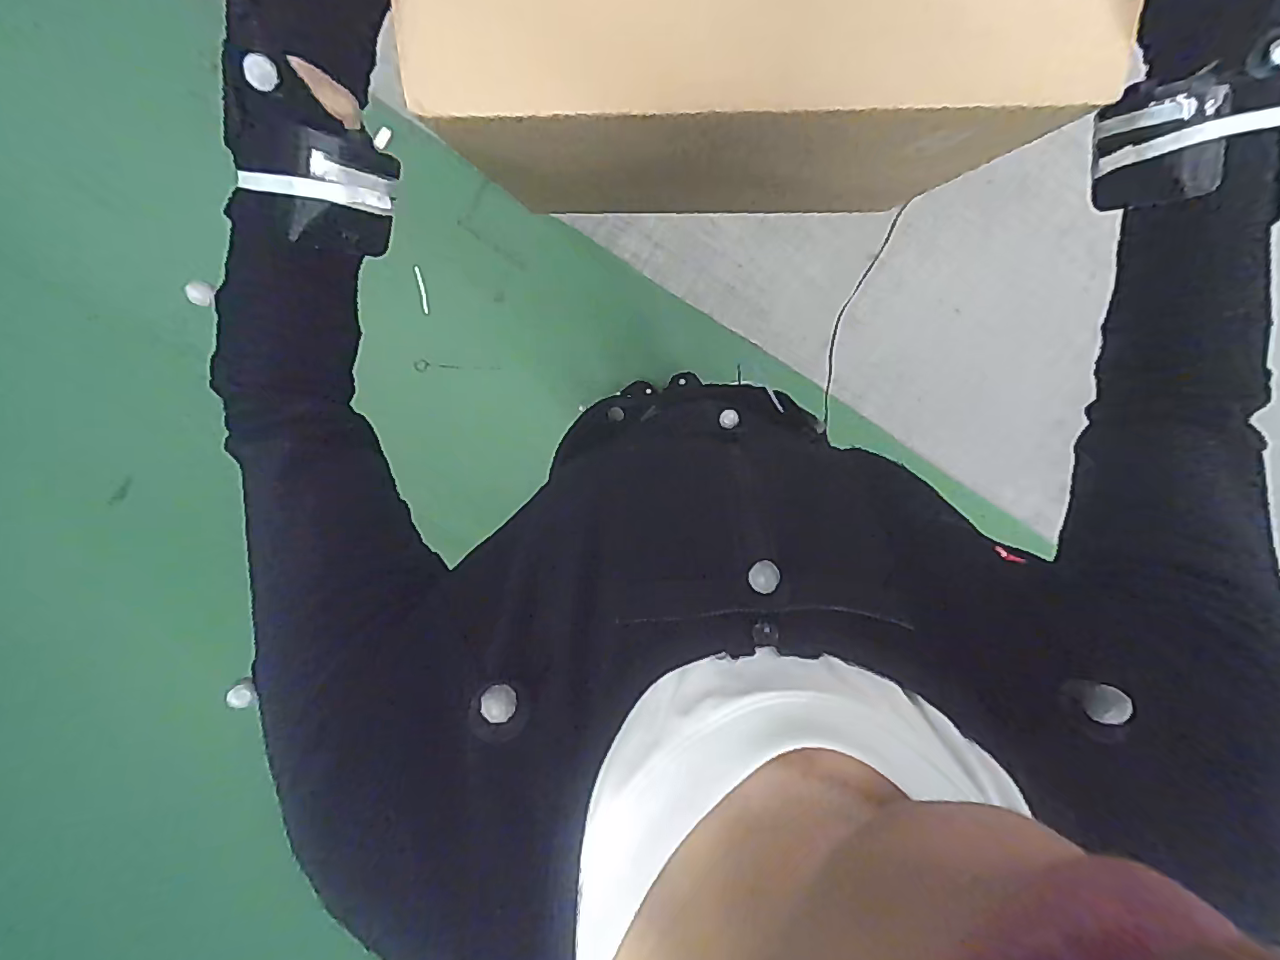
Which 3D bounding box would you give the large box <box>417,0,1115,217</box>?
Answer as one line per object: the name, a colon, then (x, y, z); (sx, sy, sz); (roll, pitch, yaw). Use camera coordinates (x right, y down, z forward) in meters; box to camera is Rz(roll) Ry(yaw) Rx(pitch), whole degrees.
large box: (0.071, -0.408, 0.424); (0.408, 0.320, 0.320); (0, 107, 2)
